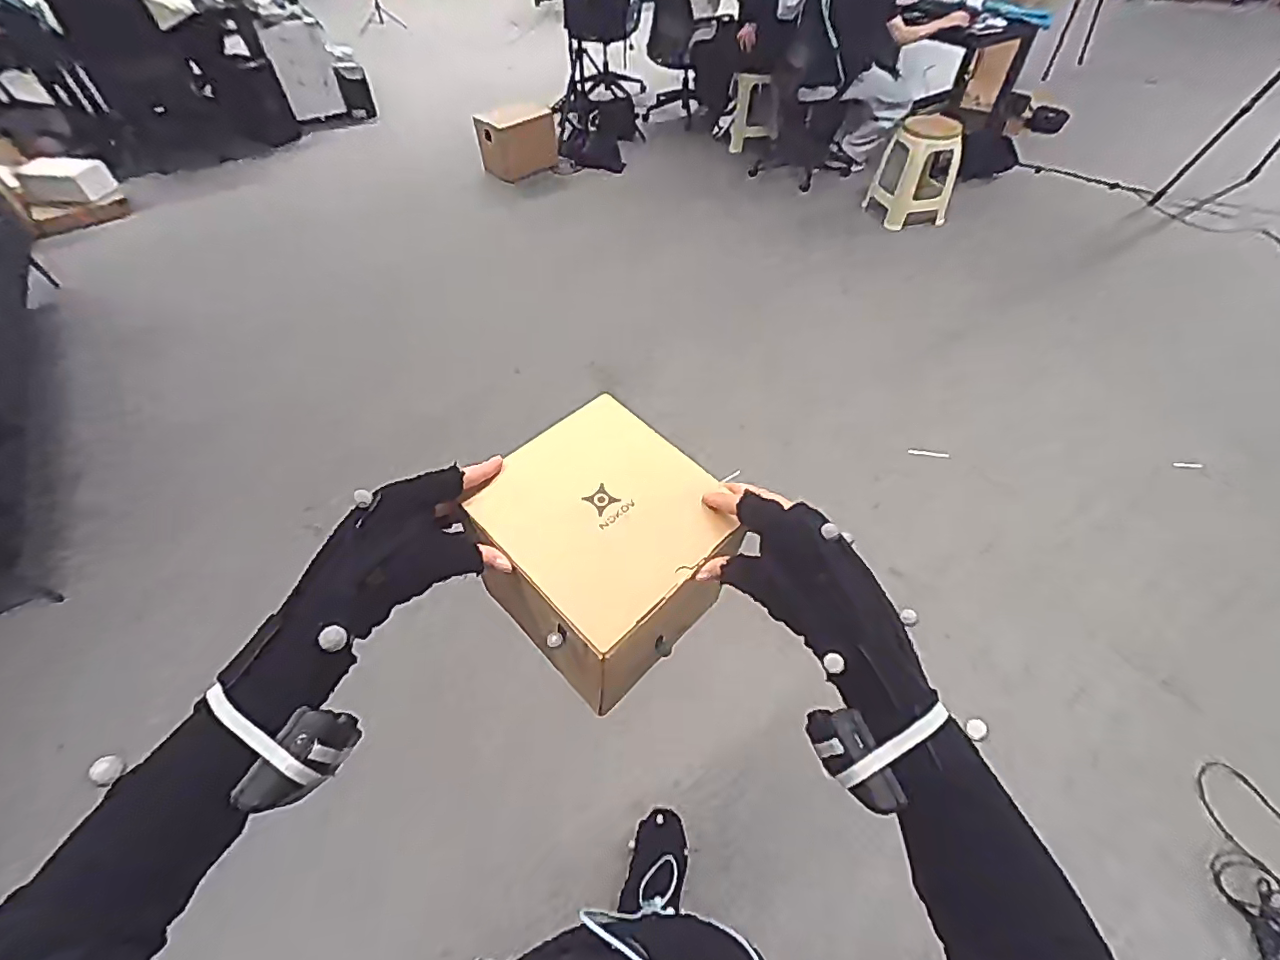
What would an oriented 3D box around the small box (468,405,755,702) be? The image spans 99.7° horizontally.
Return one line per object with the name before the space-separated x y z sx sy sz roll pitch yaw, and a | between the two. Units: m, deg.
small box | -0.030 0.070 0.498 0.168 0.176 0.179 -37 66 -28
